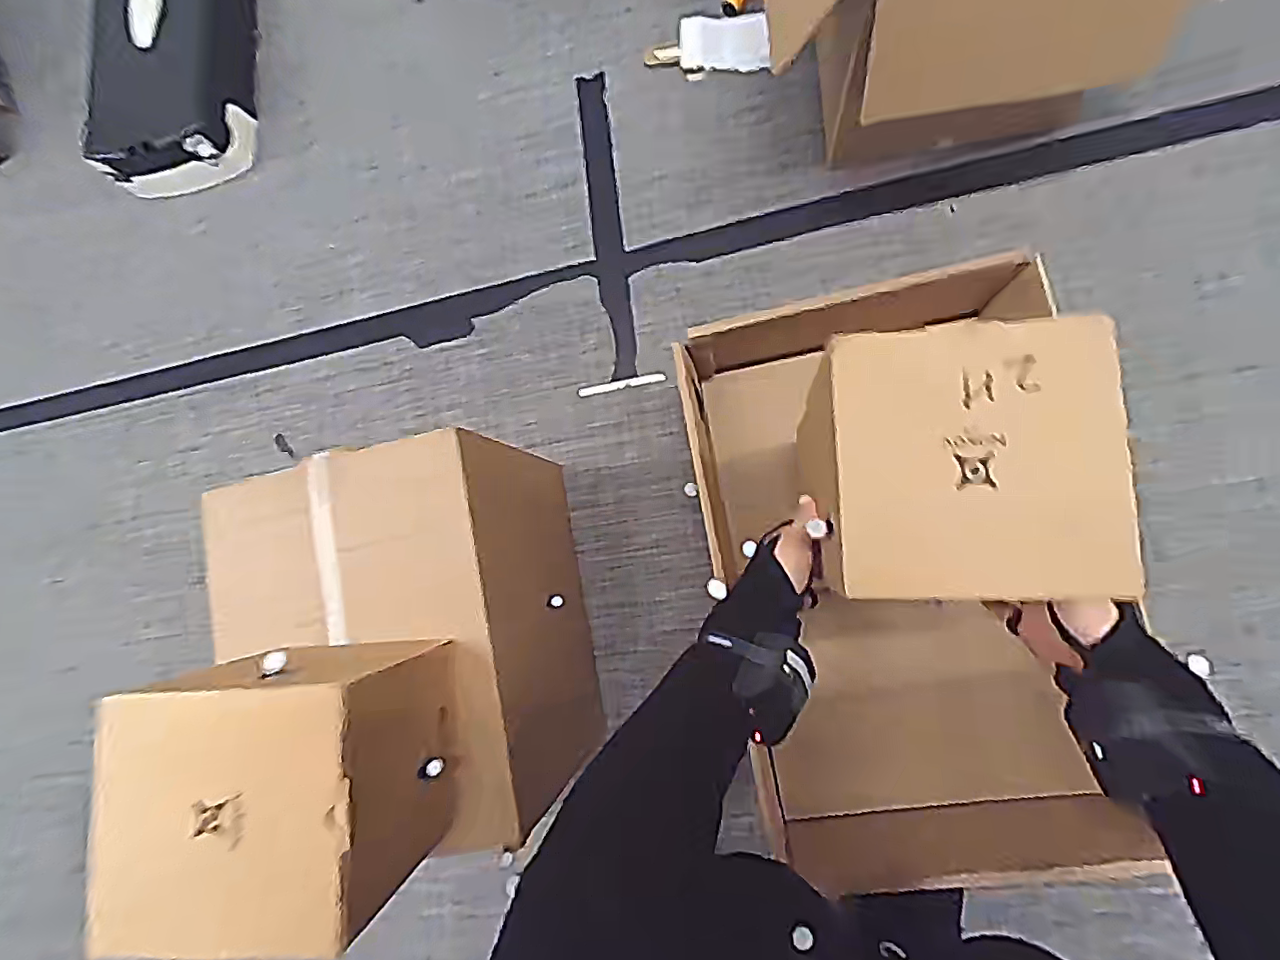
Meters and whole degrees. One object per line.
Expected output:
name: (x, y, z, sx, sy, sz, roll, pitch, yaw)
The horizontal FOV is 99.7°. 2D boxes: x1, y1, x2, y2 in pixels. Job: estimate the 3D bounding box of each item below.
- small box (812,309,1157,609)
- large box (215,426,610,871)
small box: (0.224, -0.006, 0.402, 0.168, 0.176, 0.179, -1, 84, 11)
large box: (-0.255, 0.182, 0.693, 0.320, 0.320, 0.408, -13, 82, 10)
